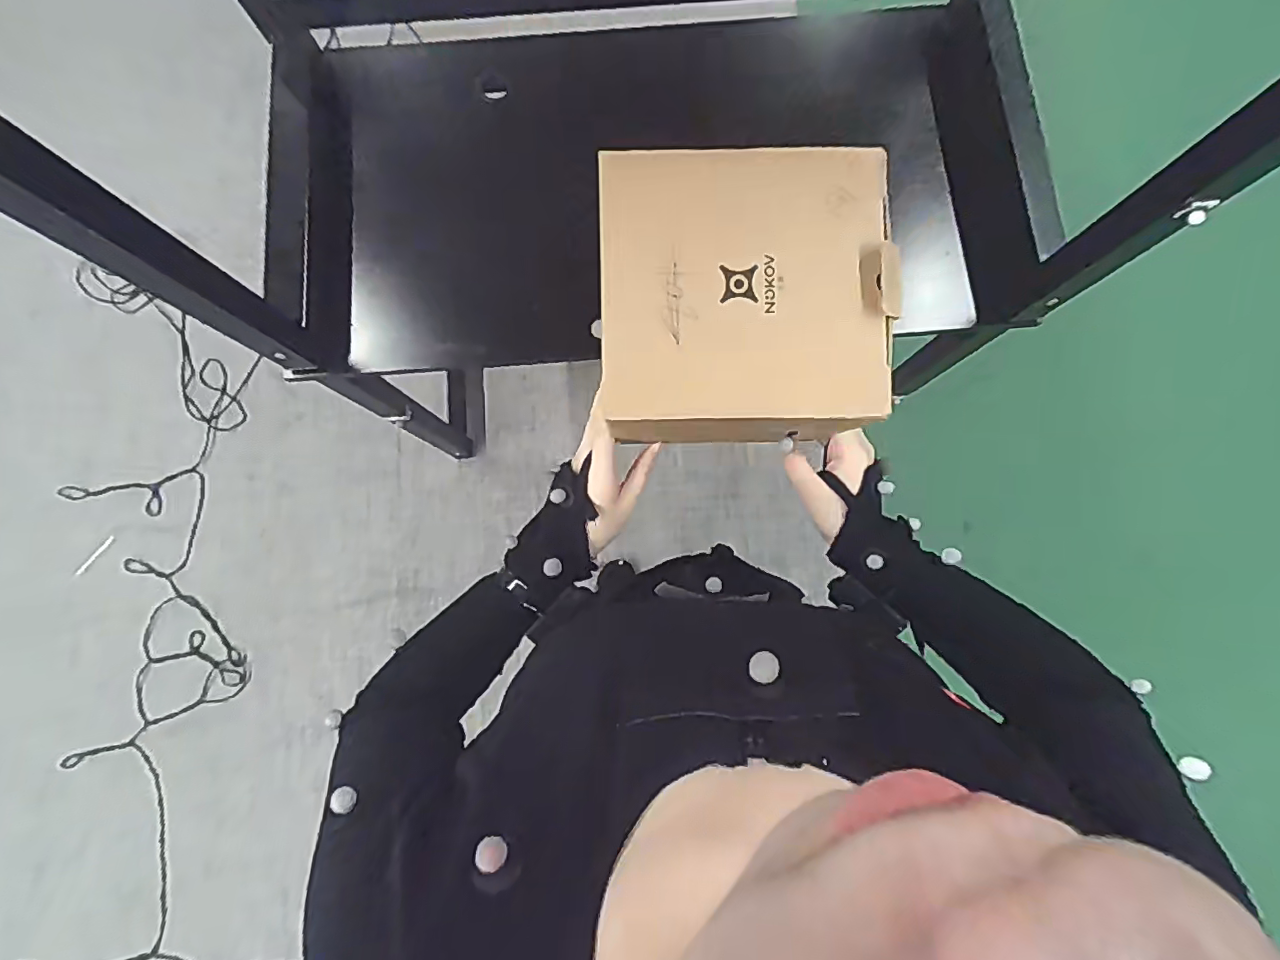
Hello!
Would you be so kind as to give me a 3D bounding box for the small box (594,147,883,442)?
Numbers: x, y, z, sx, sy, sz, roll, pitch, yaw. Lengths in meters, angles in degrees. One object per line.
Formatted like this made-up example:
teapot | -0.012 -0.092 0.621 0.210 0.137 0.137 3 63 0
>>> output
small box | 0.060 -0.119 0.408 0.179 0.176 0.168 -2 89 1
